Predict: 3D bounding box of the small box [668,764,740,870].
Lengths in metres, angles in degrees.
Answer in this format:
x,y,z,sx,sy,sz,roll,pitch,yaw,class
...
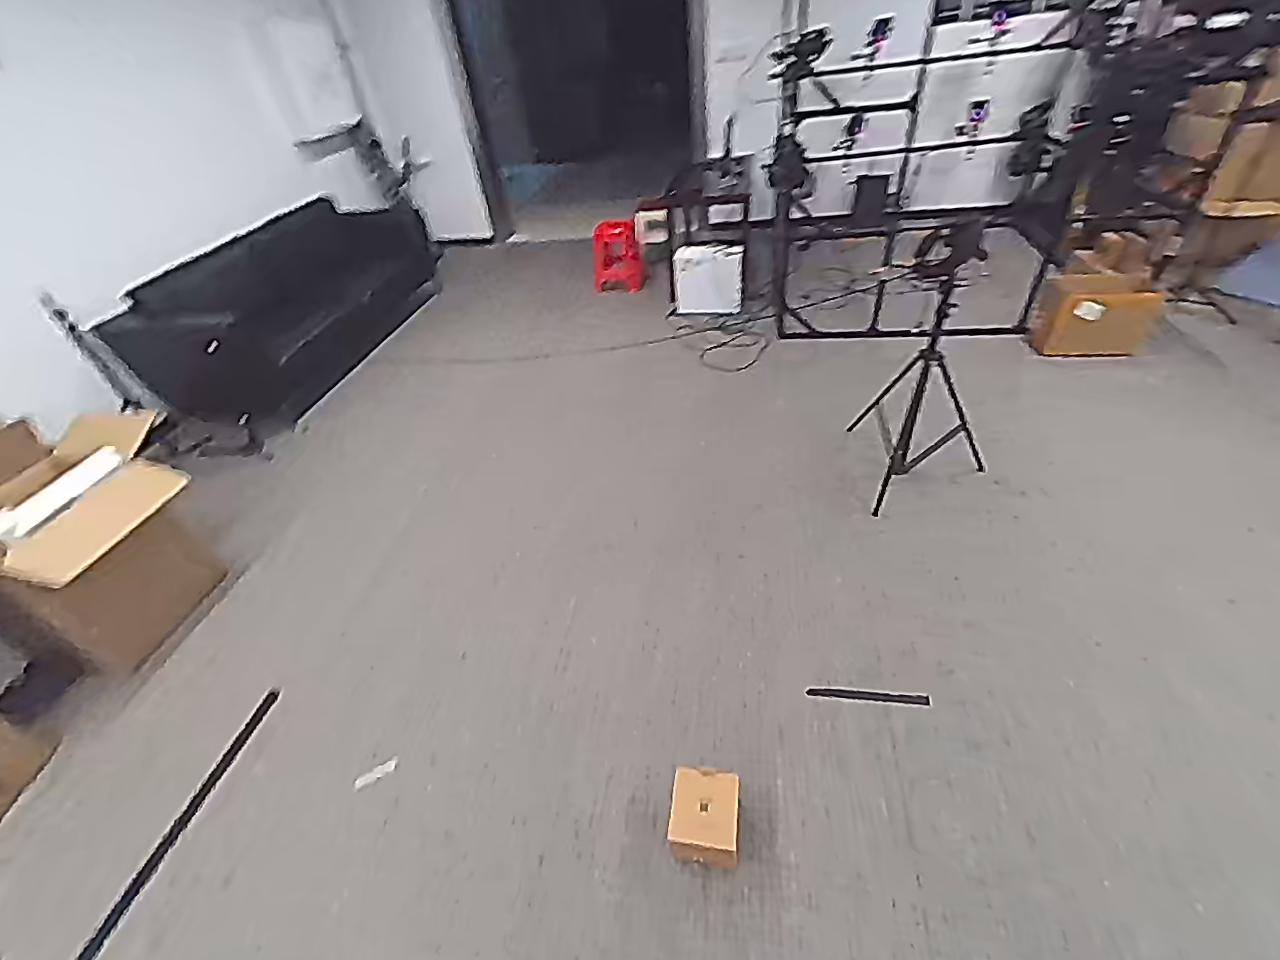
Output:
x,y,z,sx,sy,sz,roll,pitch,yaw,class
0.170,0.866,1.390,0.168,0.176,0.179,1,41,13,small box
